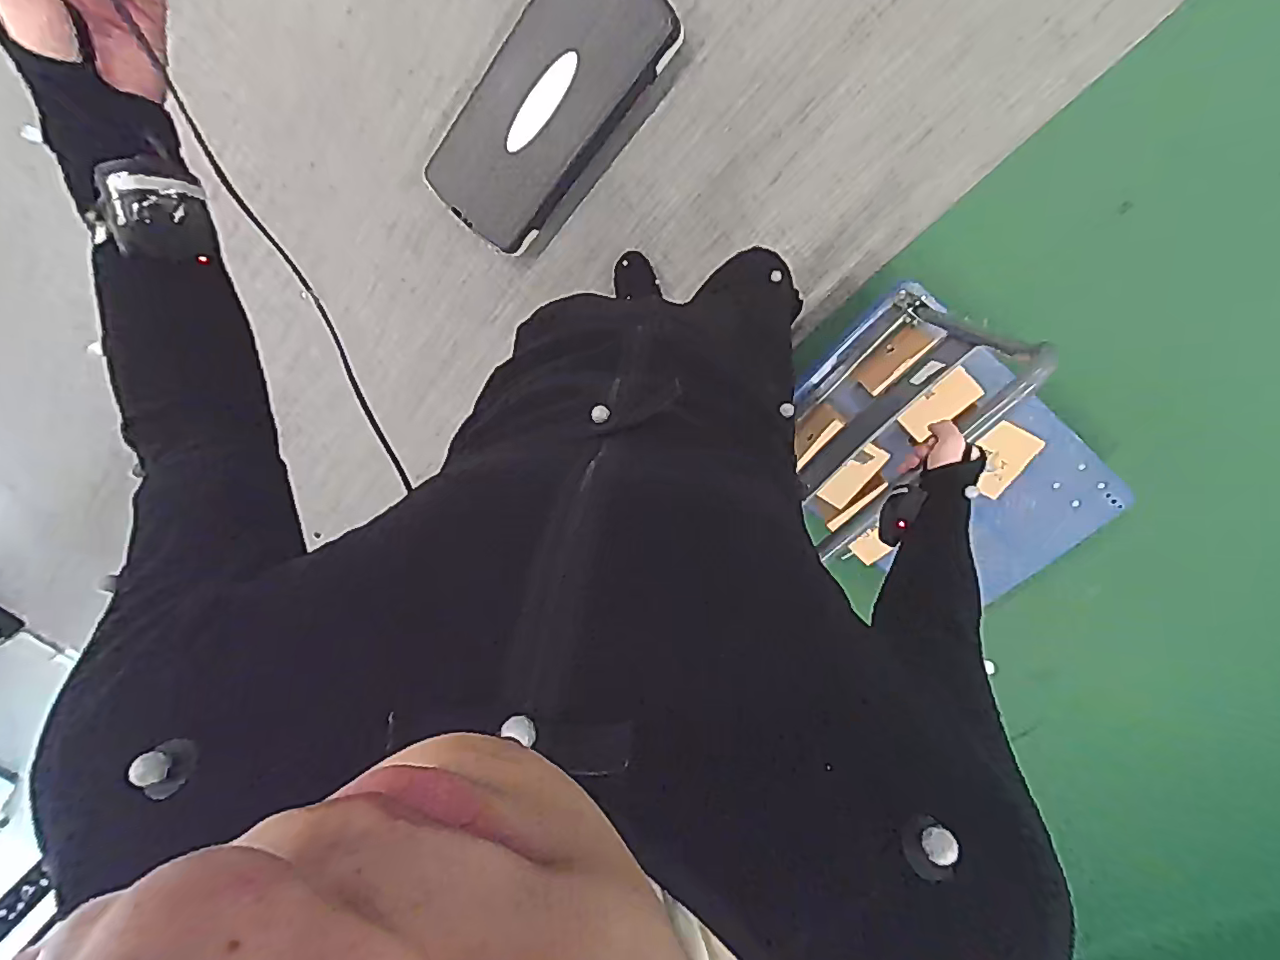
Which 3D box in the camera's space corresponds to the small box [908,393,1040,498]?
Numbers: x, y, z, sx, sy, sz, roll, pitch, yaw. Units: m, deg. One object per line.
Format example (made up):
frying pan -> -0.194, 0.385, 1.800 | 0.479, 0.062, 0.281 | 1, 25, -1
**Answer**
small box -> 0.780, -0.091, 1.288 | 0.179, 0.176, 0.168 | 26, 116, -6
